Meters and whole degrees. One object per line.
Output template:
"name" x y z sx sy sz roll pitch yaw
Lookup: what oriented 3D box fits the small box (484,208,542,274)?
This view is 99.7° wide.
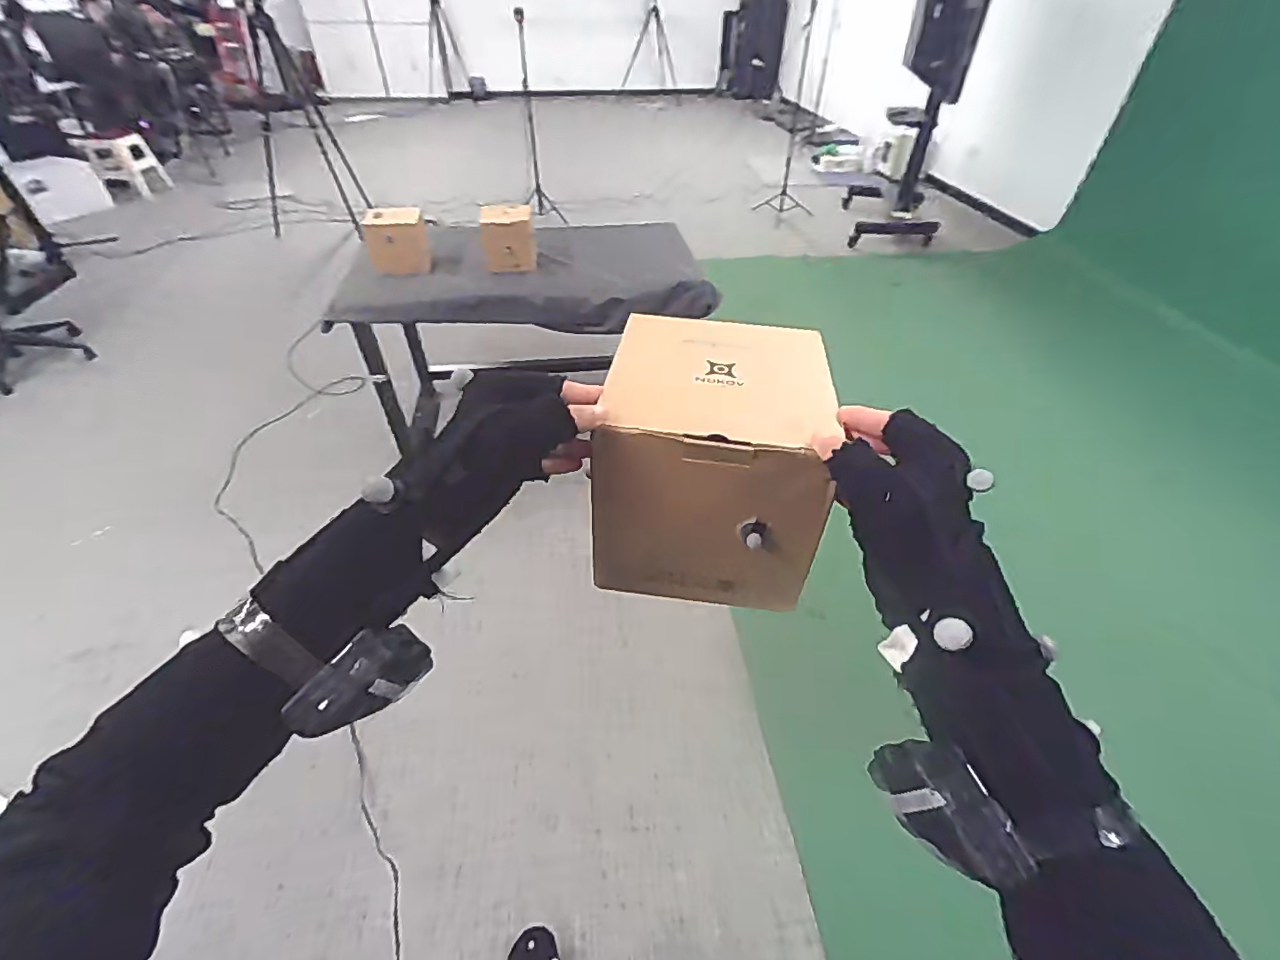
"small box" -0.437 -0.830 1.887 0.168 0.176 0.179 -3 43 -4

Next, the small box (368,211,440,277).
"small box" -0.805 -0.809 1.858 0.179 0.176 0.168 -6 43 -8

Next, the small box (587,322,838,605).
"small box" 0.053 -0.015 0.461 0.168 0.176 0.179 6 40 3
